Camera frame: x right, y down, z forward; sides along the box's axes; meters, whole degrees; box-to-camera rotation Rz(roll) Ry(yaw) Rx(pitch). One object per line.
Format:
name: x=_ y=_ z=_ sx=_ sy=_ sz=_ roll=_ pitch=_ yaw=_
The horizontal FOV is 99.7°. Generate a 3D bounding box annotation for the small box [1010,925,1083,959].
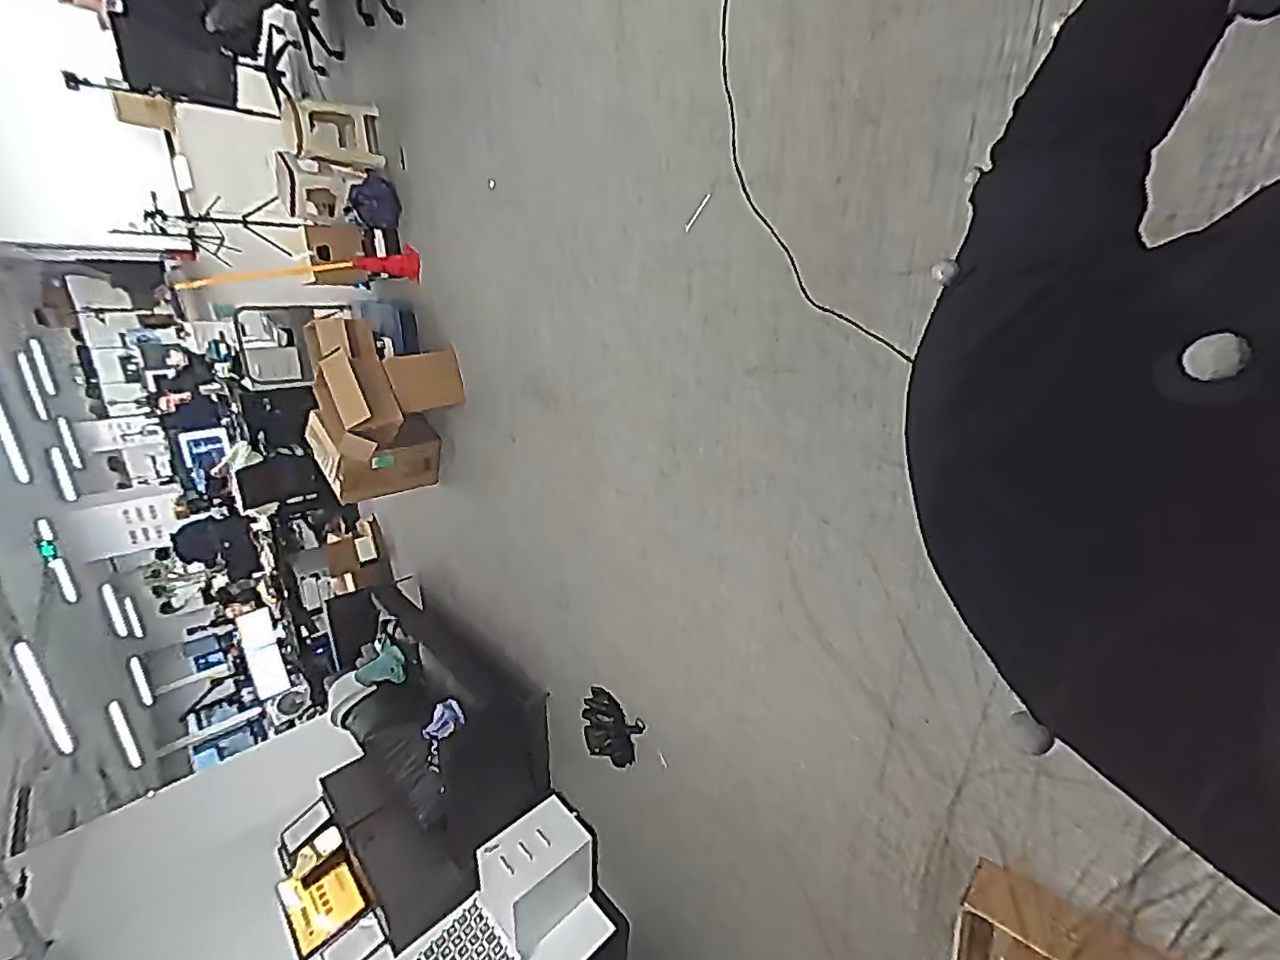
small box: x=1.066 y=1.330 z=1.406 sx=0.179 sy=0.176 sz=0.168 roll=14 pitch=114 yaw=45
